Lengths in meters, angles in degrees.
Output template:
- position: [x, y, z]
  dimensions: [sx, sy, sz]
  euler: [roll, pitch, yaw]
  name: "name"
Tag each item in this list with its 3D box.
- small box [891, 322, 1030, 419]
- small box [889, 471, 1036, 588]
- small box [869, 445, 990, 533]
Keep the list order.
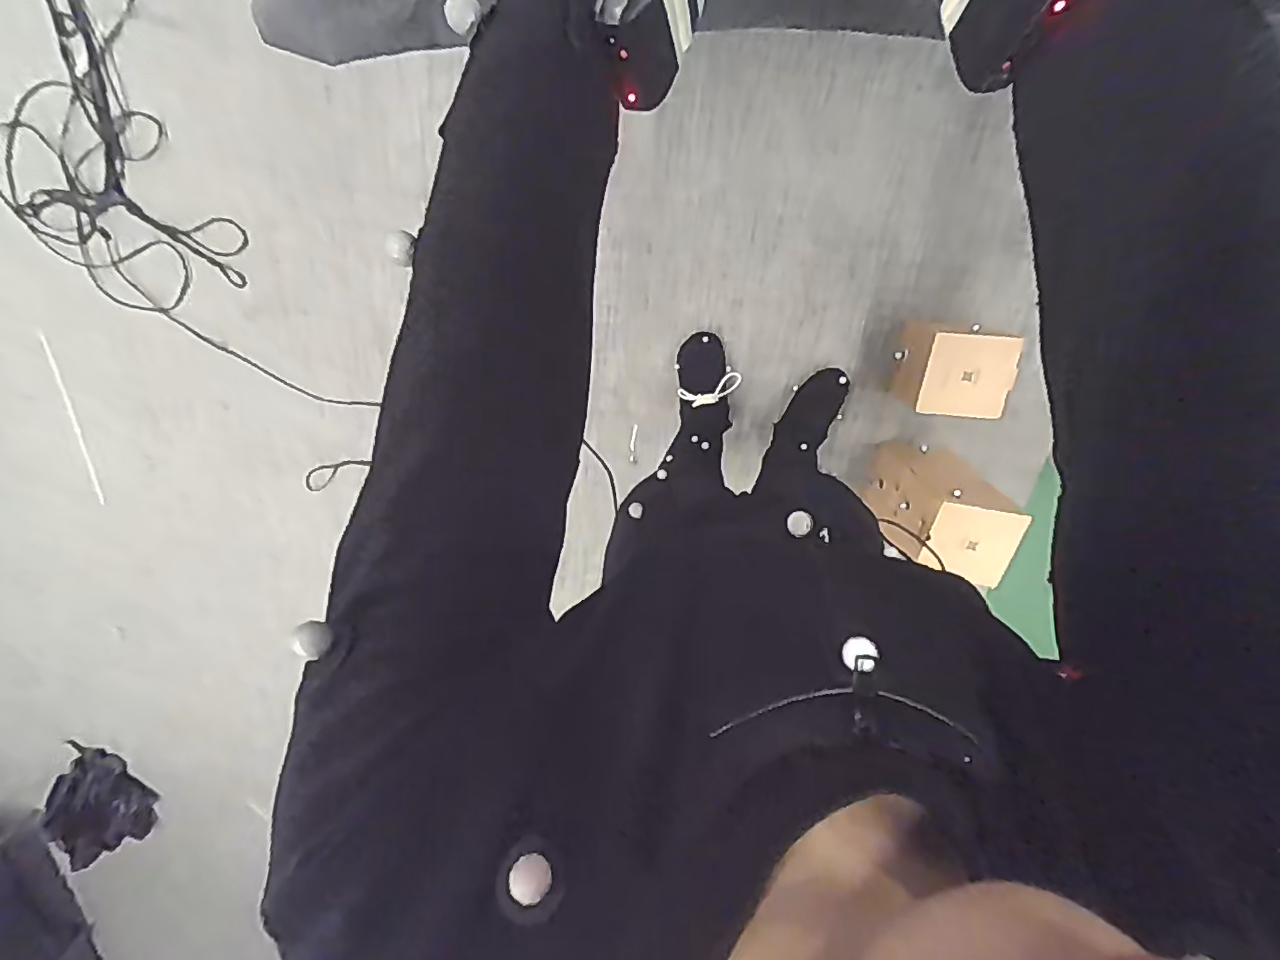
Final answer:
- position: [0.663, -0.236, 1.143]
  dimensions: [0.179, 0.176, 0.168]
  euler: [5, 113, 3]
  name: "small box"
- position: [0.646, 0.095, 1.108]
  dimensions: [0.179, 0.176, 0.168]
  euler: [10, 114, 1]
  name: "small box"
- position: [0.658, 0.028, 1.257]
  dimensions: [0.179, 0.176, 0.168]
  euler: [9, 115, 3]
  name: "small box"
